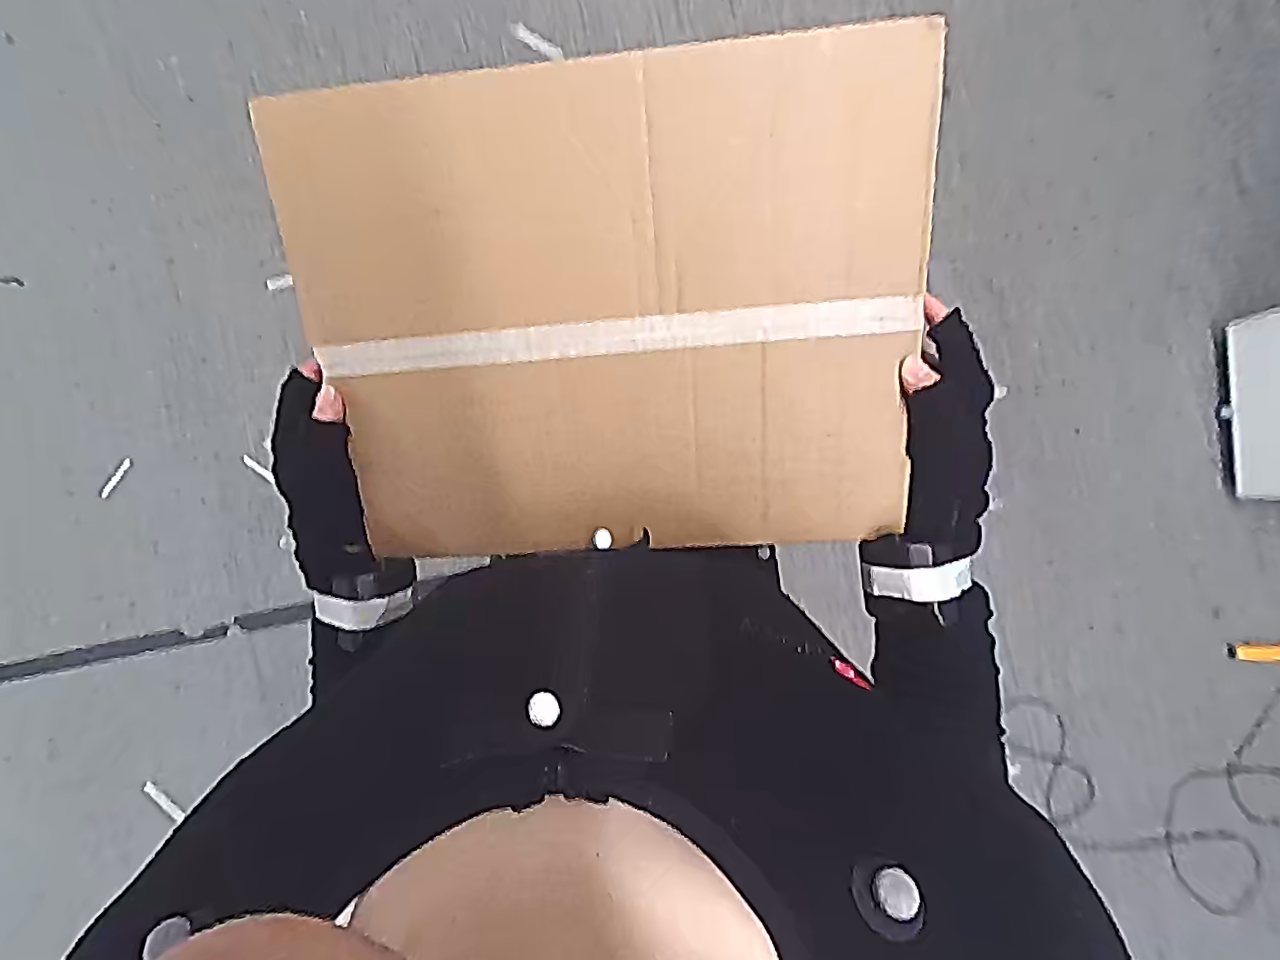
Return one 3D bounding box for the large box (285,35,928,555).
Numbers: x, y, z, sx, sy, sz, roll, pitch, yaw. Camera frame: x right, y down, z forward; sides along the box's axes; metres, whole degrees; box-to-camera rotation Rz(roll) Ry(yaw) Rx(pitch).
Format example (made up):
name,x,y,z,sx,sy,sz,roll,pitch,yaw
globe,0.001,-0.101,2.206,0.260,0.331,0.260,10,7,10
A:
name,x,y,z,sx,sy,sz,roll,pitch,yaw
large box,-0.010,-0.146,0.514,0.408,0.320,0.320,-4,111,5
